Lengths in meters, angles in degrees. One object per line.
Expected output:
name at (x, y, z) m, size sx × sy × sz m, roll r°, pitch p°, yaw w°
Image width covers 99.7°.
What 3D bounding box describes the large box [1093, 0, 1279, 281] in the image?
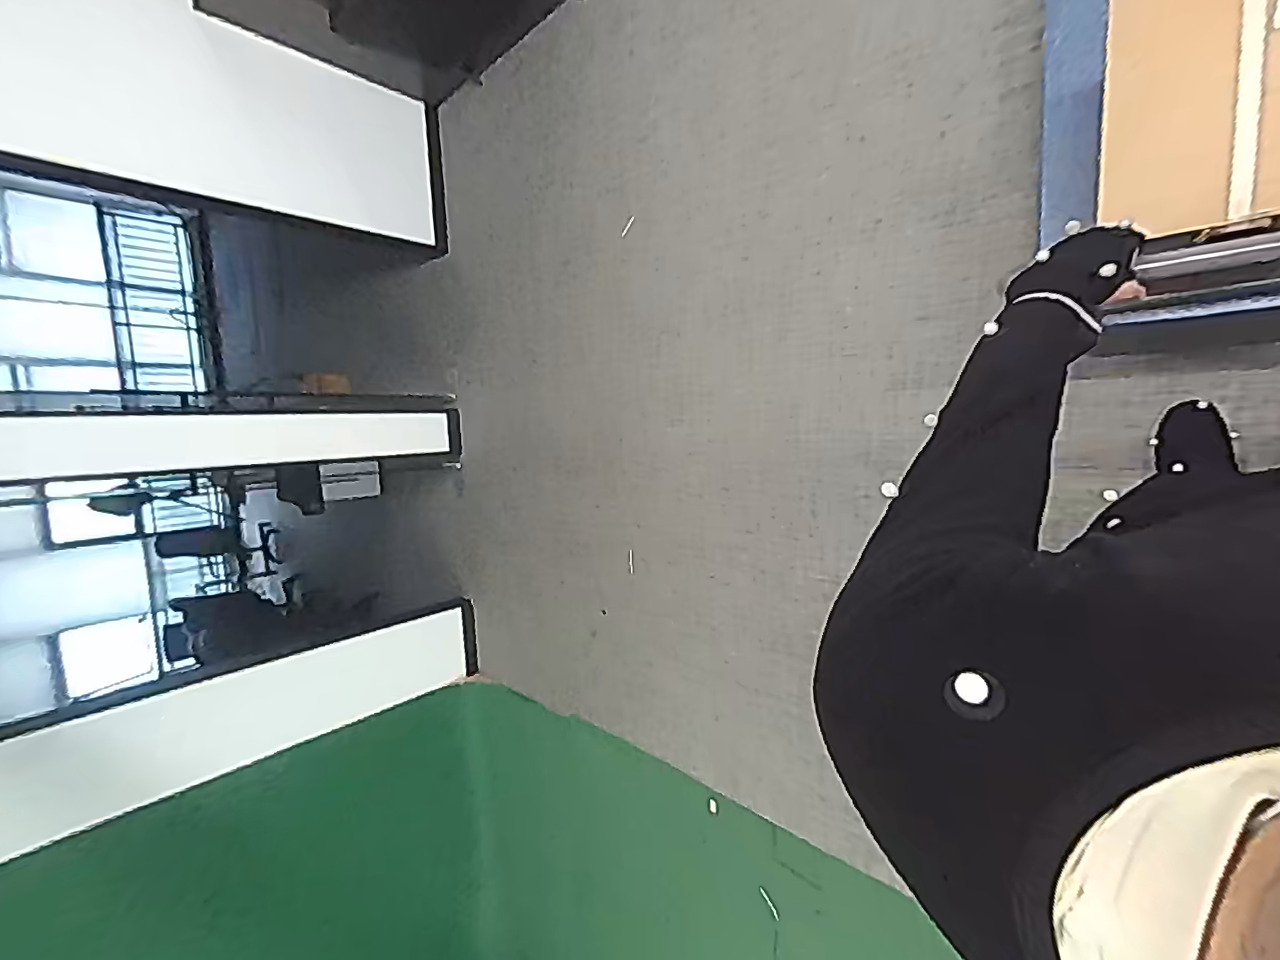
large box at (0.957, -0.584, 0.876) m, size 0.320 × 0.320 × 0.408 m, roll 3°, pitch 96°, yaw 43°
